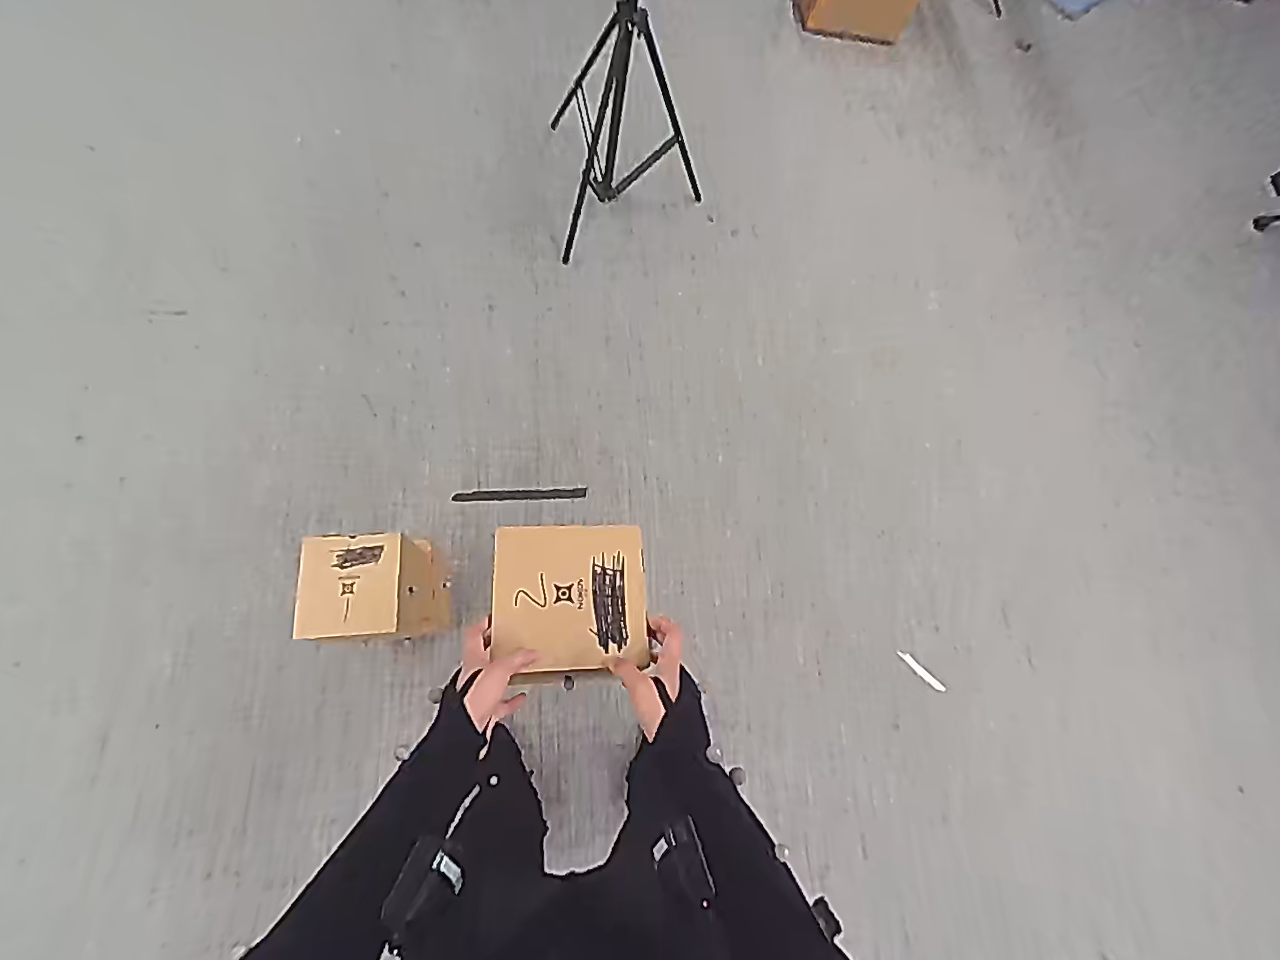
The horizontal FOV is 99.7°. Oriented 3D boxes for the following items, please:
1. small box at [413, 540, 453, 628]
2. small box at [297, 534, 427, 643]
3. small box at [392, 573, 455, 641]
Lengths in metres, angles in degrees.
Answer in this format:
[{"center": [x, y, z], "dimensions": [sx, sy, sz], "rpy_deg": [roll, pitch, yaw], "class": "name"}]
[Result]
[{"center": [-0.512, 0.235, 1.166], "dimensions": [0.179, 0.176, 0.168], "rpy_deg": [-5, 72, -11], "class": "small box"}, {"center": [-0.501, 0.205, 1.002], "dimensions": [0.168, 0.176, 0.179], "rpy_deg": [-2, 72, -9], "class": "small box"}, {"center": [-0.550, 0.291, 1.316], "dimensions": [0.168, 0.176, 0.179], "rpy_deg": [-4, 72, -10], "class": "small box"}]
